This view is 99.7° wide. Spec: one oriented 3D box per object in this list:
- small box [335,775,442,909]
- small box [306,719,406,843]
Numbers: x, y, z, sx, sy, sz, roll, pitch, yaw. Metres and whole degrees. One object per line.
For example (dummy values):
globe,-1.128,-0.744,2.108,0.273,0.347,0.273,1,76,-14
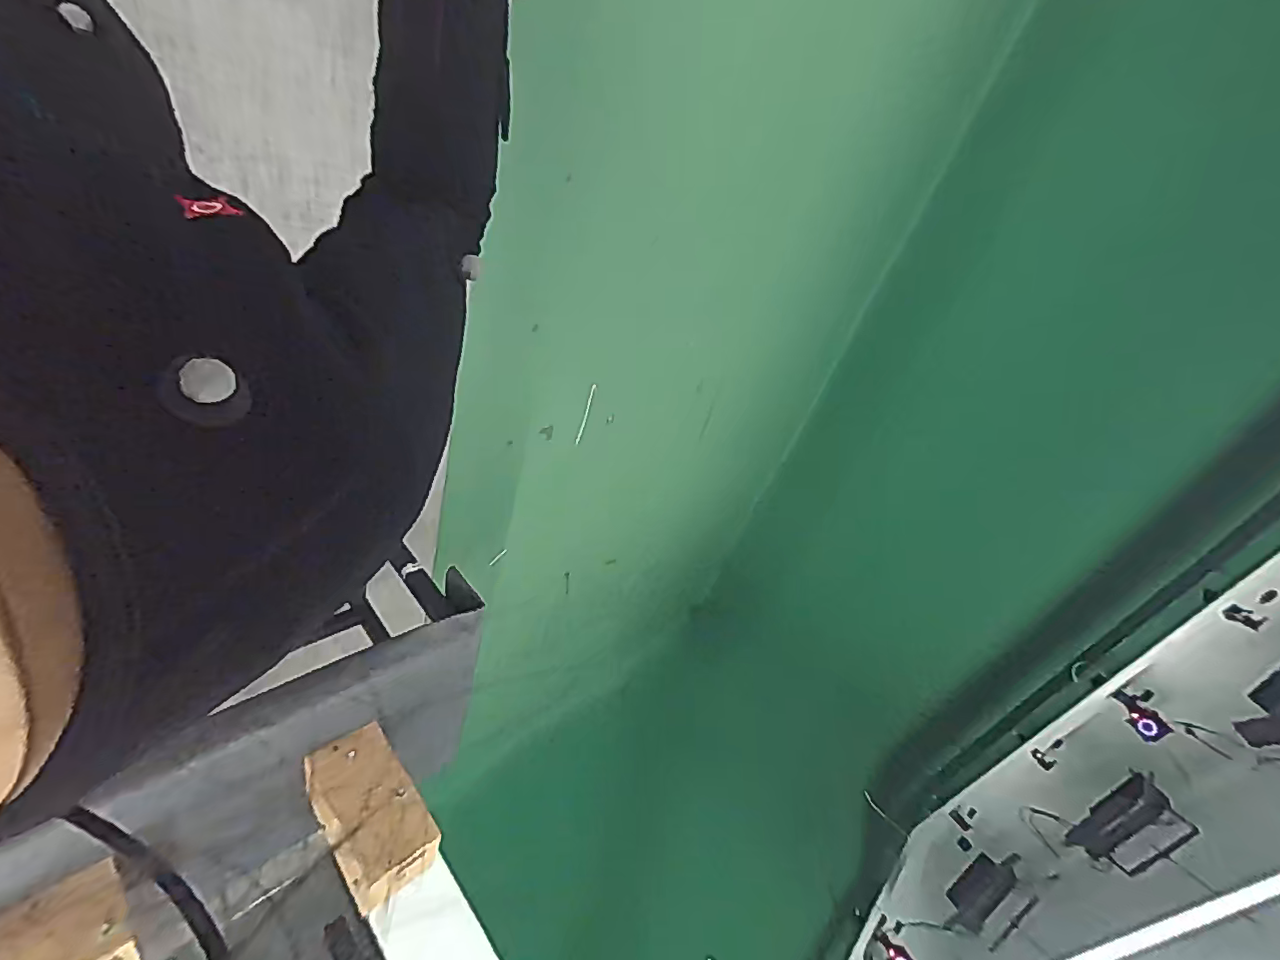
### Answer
small box,-0.586,0.826,1.252,0.168,0.176,0.179,-16,139,-46
small box,-0.697,0.728,1.324,0.168,0.176,0.179,-19,140,-45
